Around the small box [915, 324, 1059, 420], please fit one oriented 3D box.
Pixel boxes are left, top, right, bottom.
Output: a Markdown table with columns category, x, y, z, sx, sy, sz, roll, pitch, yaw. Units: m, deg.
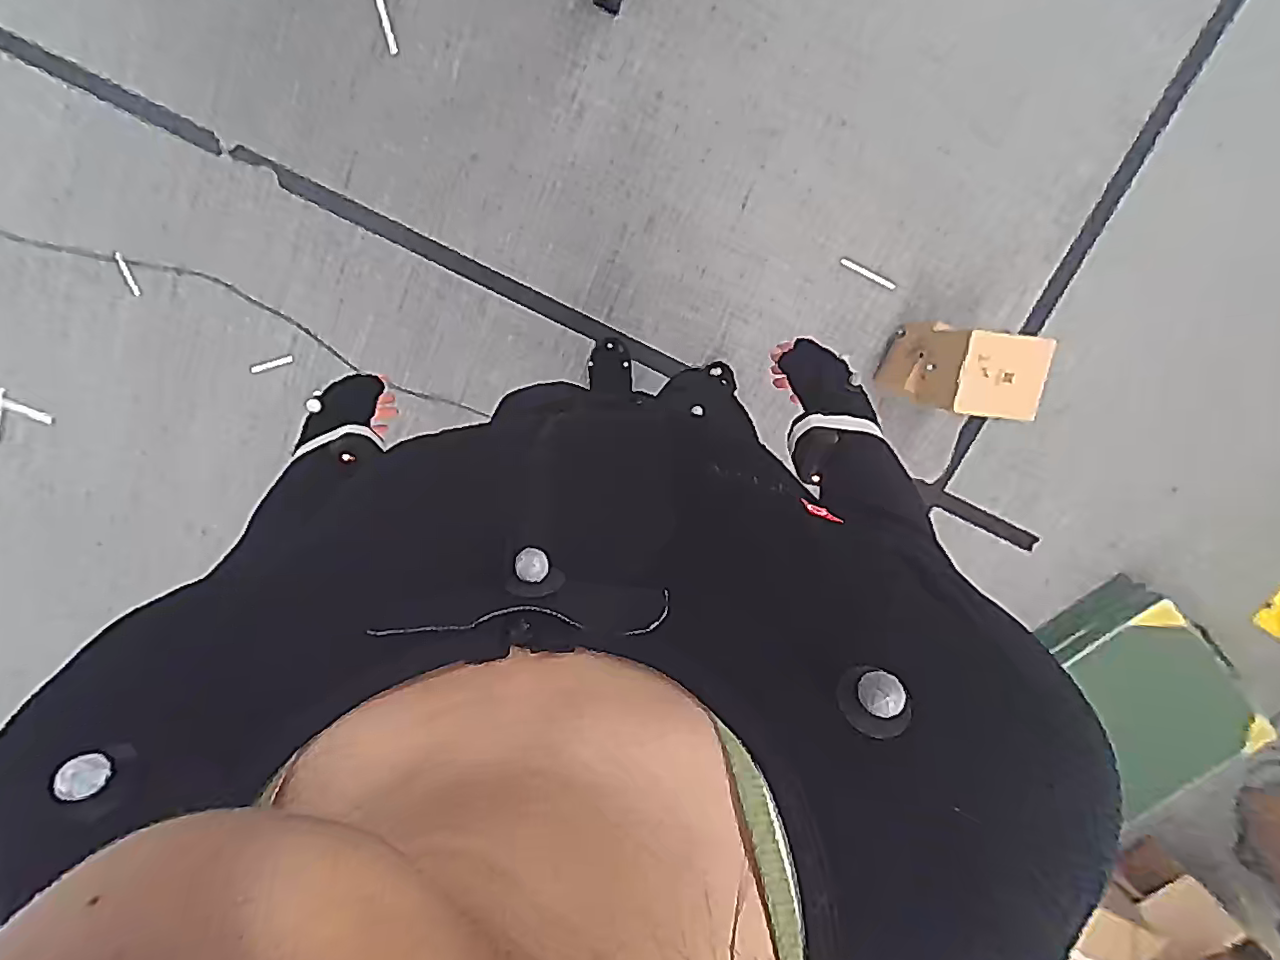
| category | x | y | z | sx | sy | sz | roll | pitch | yaw |
| --- | --- | --- | --- | --- | --- | --- | --- | --- | --- |
| small box | 0.734 | -0.237 | 1.165 | 0.179 | 0.176 | 0.168 | 11 | 105 | 0 |

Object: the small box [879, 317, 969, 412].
| category | x | y | z | sx | sy | sz | roll | pitch | yaw |
| --- | --- | --- | --- | --- | --- | --- | --- | --- | --- |
| small box | 0.725 | -0.284 | 1.323 | 0.179 | 0.176 | 0.168 | 23 | 105 | -6 |
